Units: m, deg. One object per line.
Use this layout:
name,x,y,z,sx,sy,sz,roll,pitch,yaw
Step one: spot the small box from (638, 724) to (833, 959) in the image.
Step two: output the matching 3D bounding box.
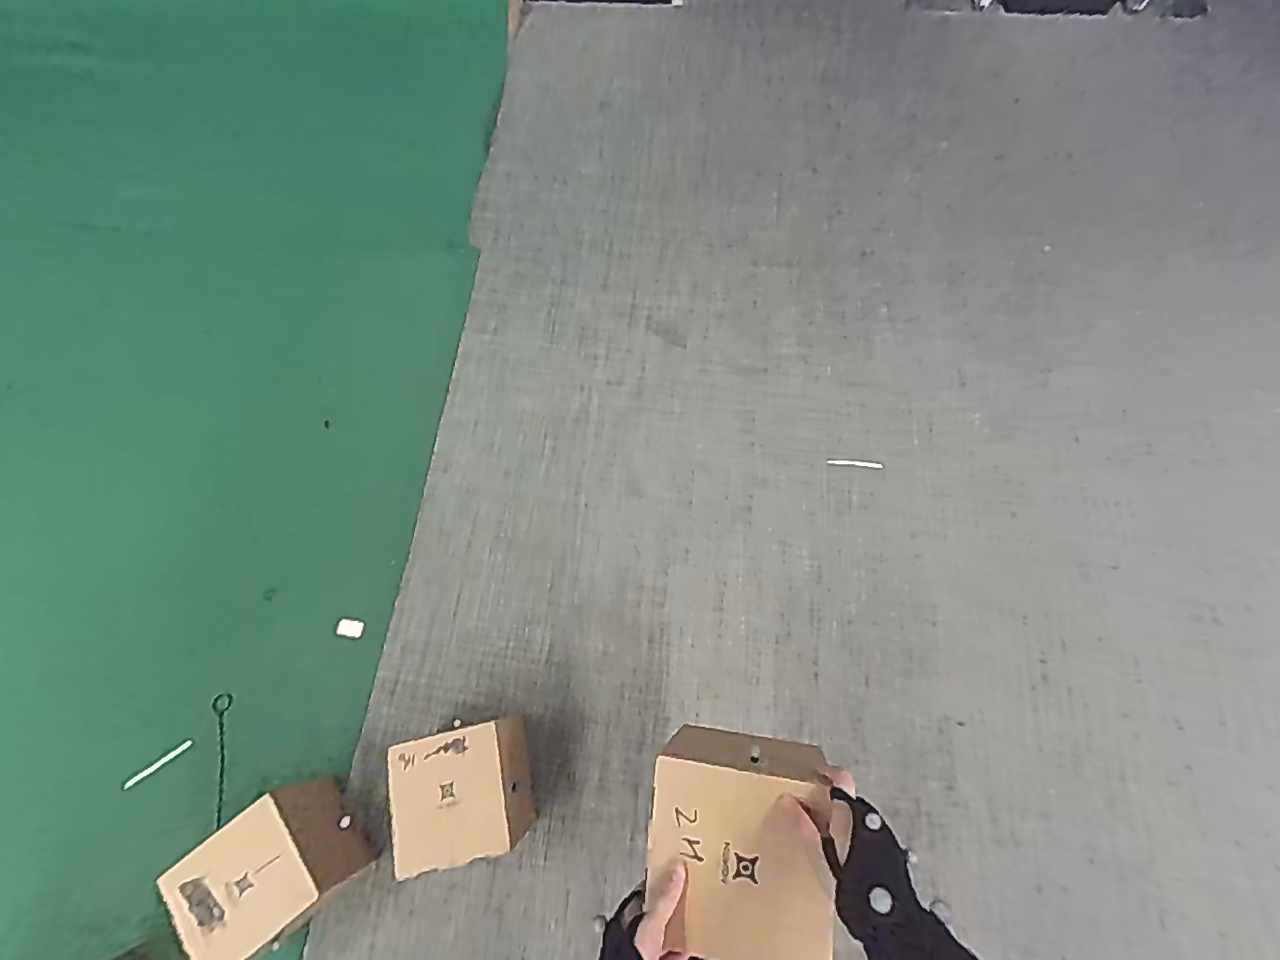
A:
small box,0.109,0.379,0.592,0.179,0.176,0.168,3,77,15

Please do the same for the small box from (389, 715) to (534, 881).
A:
small box,-0.274,0.487,0.856,0.168,0.176,0.179,-13,71,-2

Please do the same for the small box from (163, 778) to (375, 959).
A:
small box,-0.552,0.595,0.827,0.179,0.176,0.168,-38,73,-12
